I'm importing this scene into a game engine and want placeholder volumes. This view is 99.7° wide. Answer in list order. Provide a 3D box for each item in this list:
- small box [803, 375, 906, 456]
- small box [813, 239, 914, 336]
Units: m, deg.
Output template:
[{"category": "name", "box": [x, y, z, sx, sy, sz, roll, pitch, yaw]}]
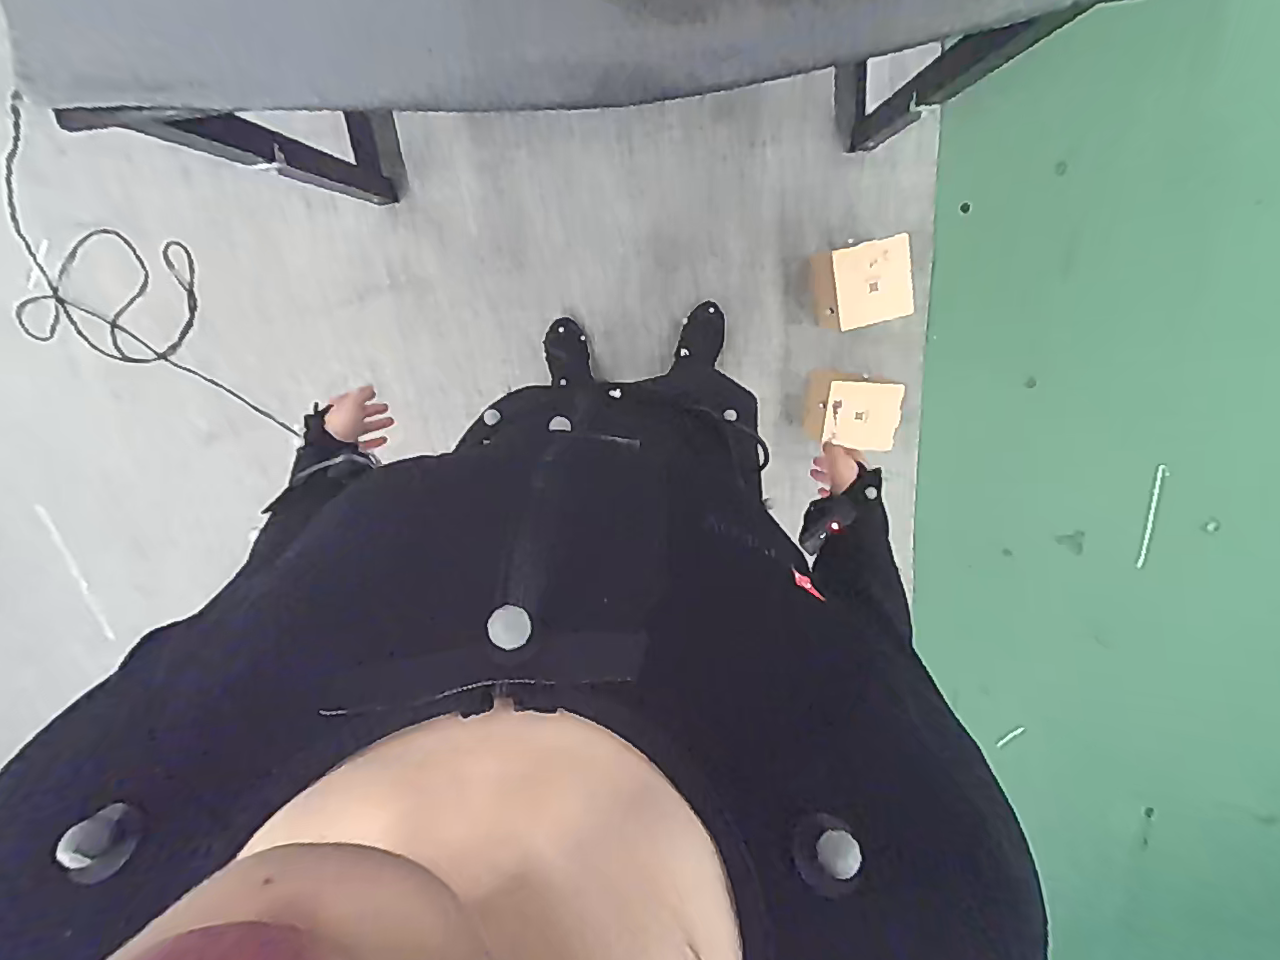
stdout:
[{"category": "small box", "box": [0.529, -0.167, 1.357, 0.179, 0.176, 0.168, 4, 110, 0]}, {"category": "small box", "box": [0.515, -0.447, 1.260, 0.168, 0.176, 0.179, -12, 108, 5]}]
